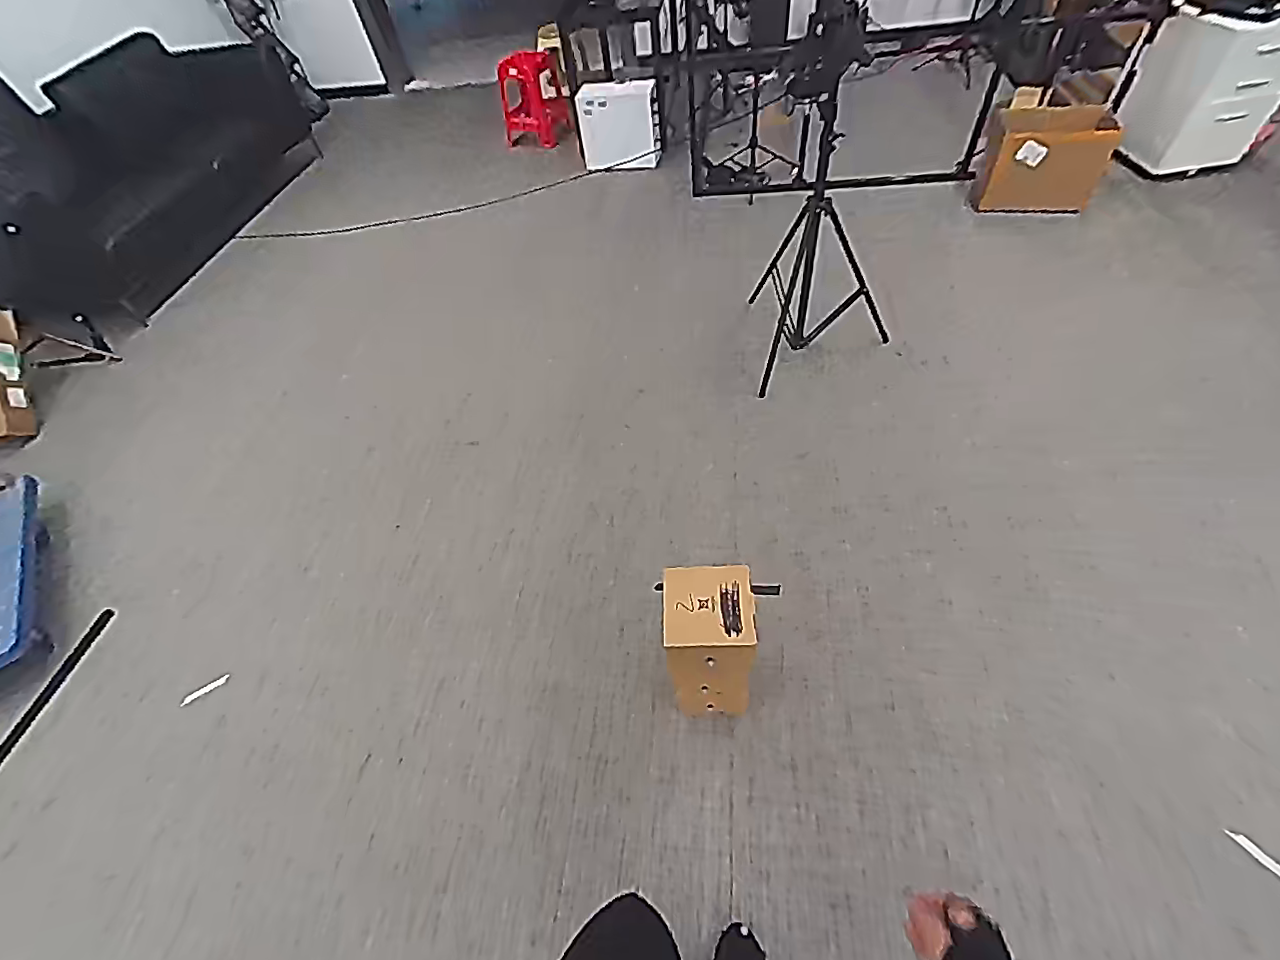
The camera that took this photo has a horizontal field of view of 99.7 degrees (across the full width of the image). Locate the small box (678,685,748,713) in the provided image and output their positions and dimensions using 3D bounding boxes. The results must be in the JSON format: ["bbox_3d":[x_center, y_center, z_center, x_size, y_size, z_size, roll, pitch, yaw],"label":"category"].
[{"bbox_3d":[0.184,0.479,1.365,0.168,0.176,0.179,-2,52,7],"label":"small box"}]

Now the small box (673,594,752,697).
[{"bbox_3d":[0.165,0.379,1.238,0.168,0.176,0.179,-1,53,8],"label":"small box"}]
